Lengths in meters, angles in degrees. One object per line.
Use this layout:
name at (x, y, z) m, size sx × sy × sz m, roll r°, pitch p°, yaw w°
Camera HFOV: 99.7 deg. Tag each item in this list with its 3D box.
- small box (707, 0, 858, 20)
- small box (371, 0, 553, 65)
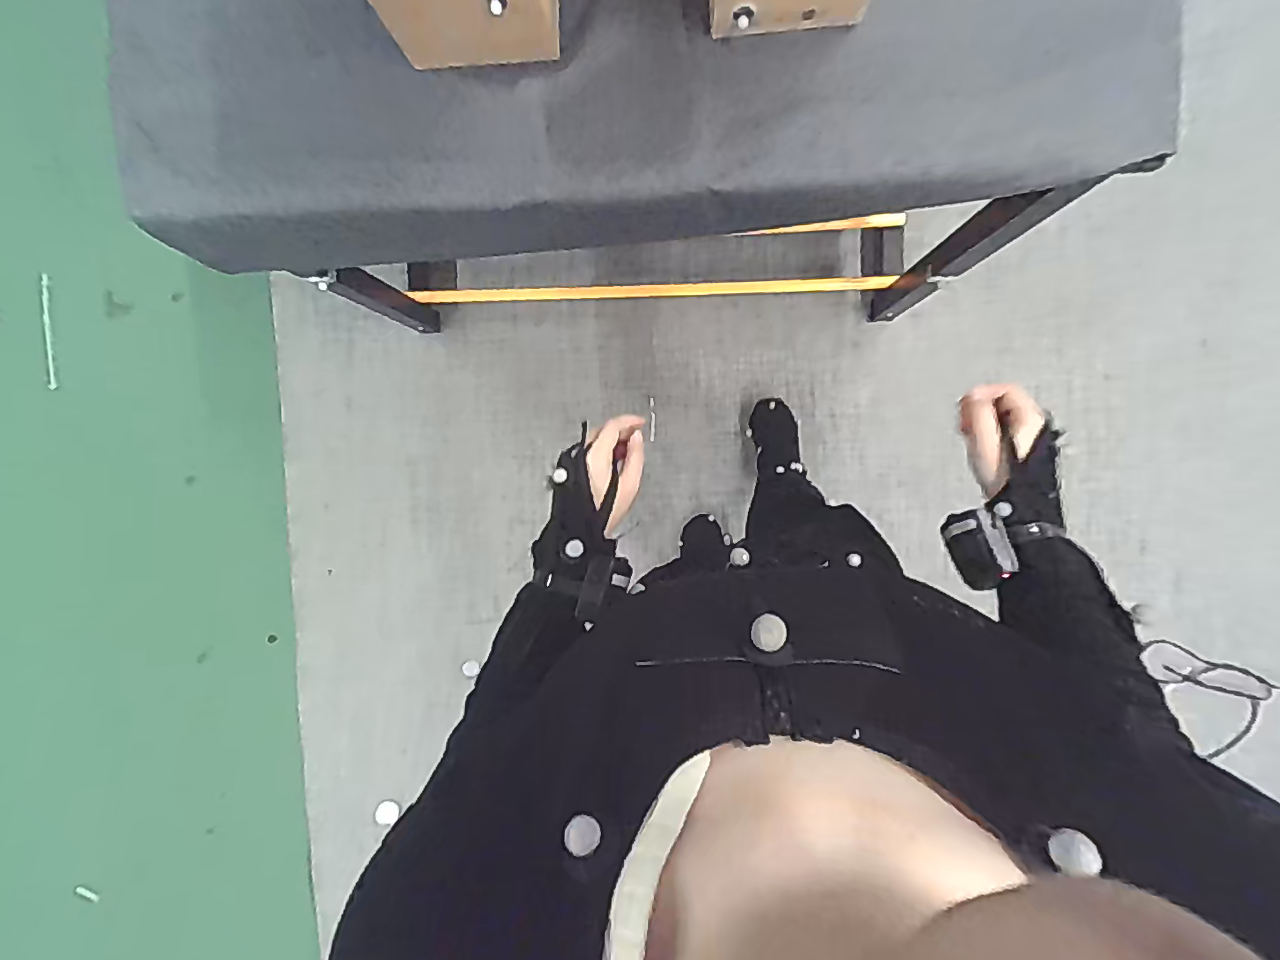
small box at (0.147, -0.587, 0.516) m, size 0.168 × 0.176 × 0.179 m, roll -2°, pitch 91°, yaw 4°
small box at (-0.188, -0.563, 0.544) m, size 0.179 × 0.176 × 0.168 m, roll -1°, pitch 91°, yaw 5°
